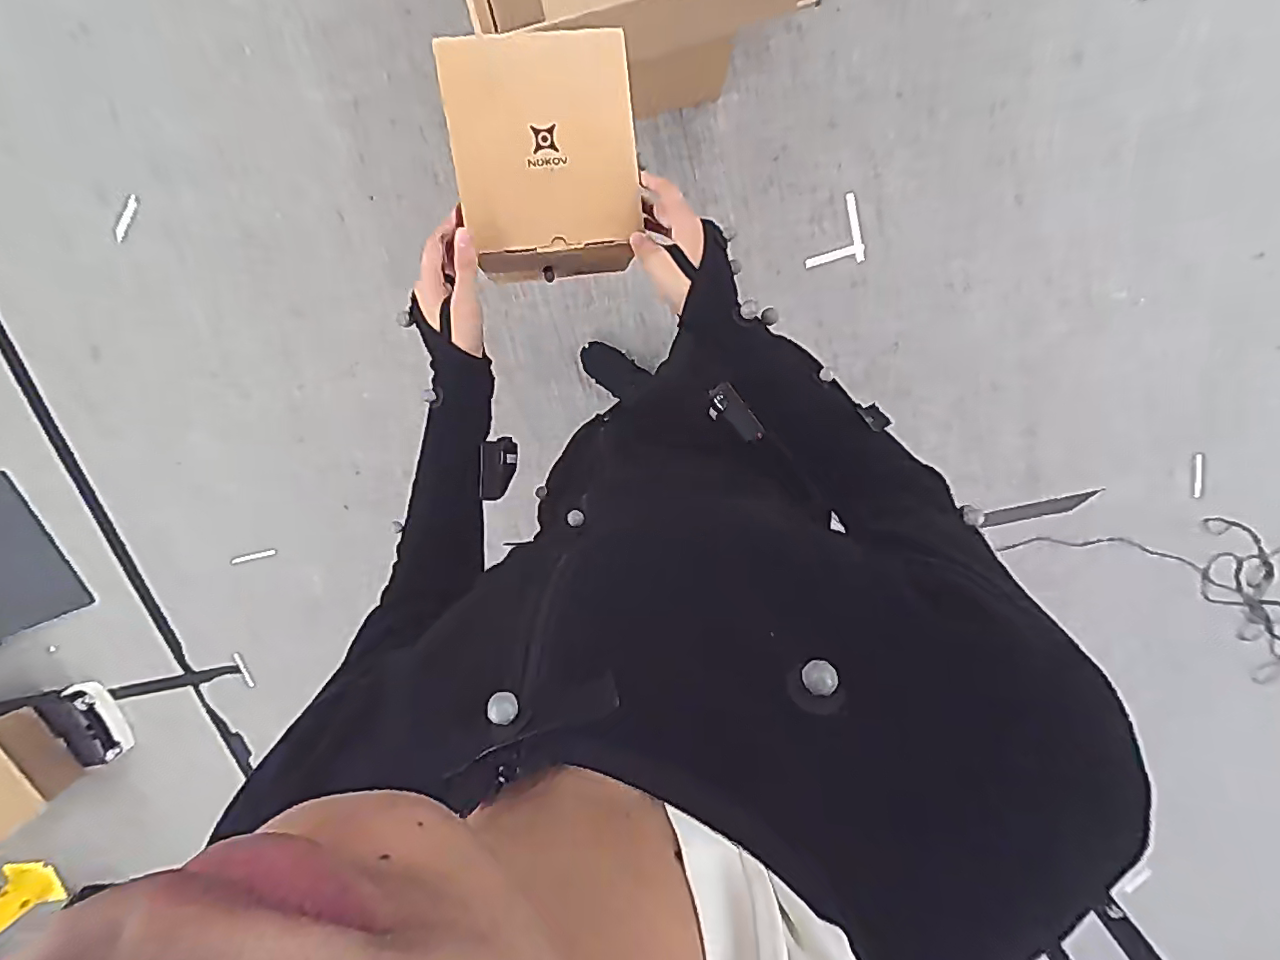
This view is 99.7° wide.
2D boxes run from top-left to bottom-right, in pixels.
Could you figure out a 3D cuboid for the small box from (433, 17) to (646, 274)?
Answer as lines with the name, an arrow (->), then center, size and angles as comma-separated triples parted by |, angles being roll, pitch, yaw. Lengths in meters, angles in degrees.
small box -> -0.096, -0.321, 0.551 | 0.168, 0.176, 0.179 | -9, 105, -6
